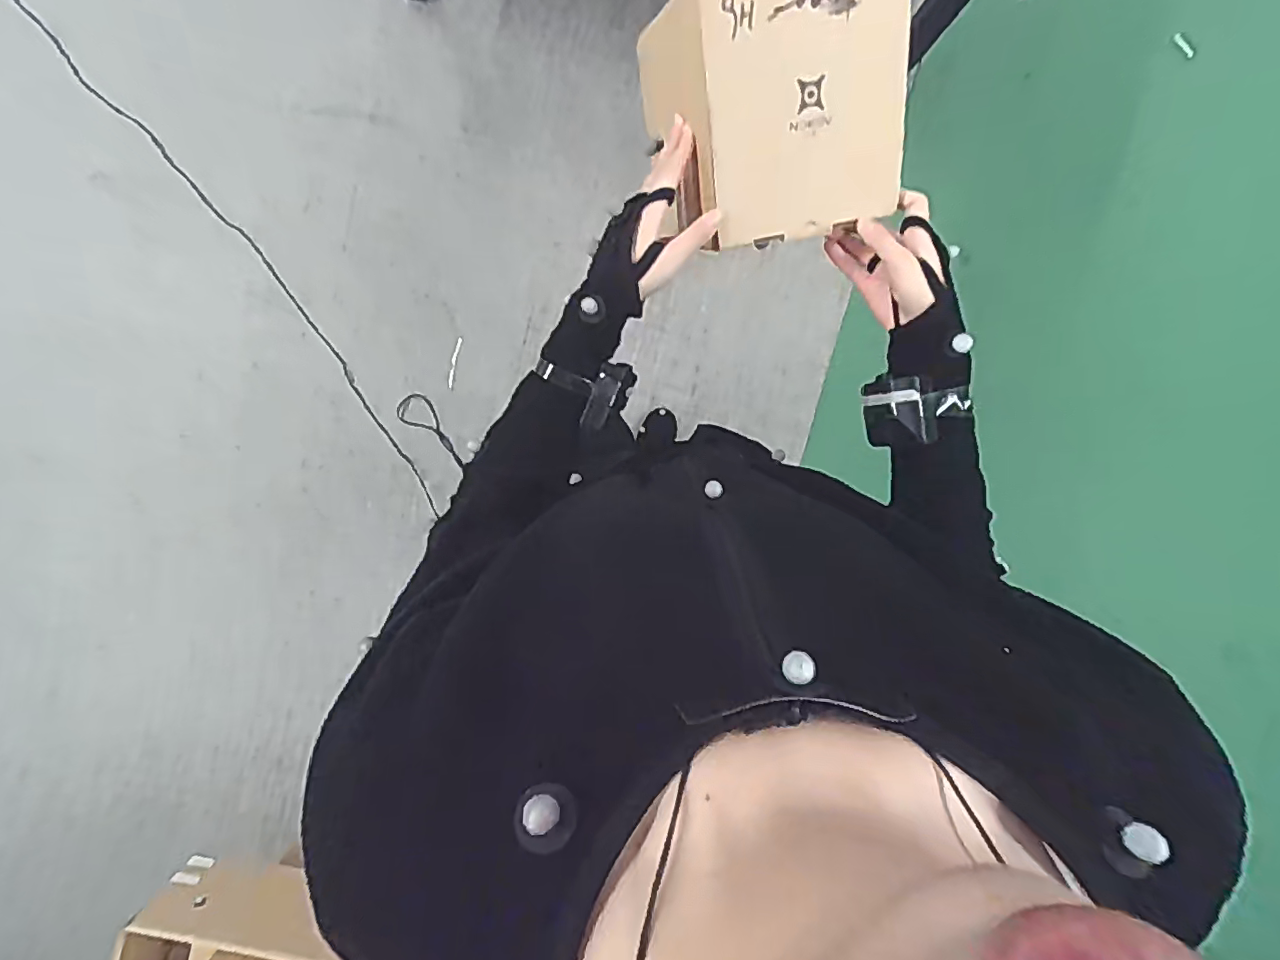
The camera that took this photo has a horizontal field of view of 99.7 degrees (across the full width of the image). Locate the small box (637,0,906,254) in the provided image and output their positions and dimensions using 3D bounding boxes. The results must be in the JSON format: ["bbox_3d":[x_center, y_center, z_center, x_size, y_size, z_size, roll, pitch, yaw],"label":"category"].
[{"bbox_3d":[0.103,-0.314,0.478,0.168,0.176,0.179,-15,120,-8],"label":"small box"}]
